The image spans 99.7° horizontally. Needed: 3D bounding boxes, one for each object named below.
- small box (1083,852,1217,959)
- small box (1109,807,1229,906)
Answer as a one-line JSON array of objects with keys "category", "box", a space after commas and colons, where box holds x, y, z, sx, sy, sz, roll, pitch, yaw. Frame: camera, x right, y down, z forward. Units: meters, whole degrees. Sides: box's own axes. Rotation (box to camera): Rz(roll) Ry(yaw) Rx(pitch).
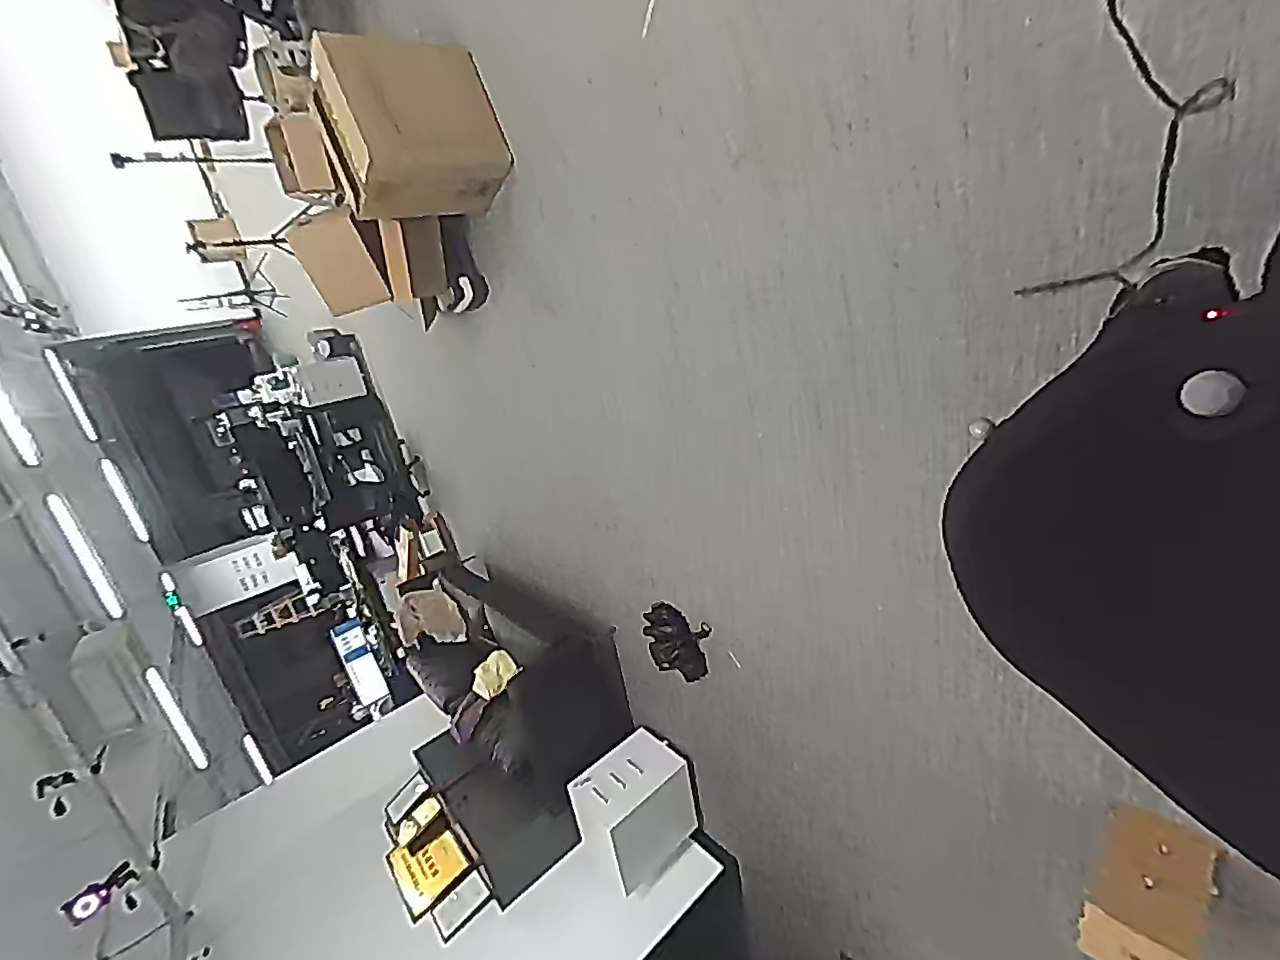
[{"category": "small box", "box": [1.131, 0.980, 1.204, 0.179, 0.176, 0.168, 16, 122, 49]}, {"category": "small box", "box": [1.255, 0.930, 1.295, 0.179, 0.176, 0.168, 18, 126, 48]}]
